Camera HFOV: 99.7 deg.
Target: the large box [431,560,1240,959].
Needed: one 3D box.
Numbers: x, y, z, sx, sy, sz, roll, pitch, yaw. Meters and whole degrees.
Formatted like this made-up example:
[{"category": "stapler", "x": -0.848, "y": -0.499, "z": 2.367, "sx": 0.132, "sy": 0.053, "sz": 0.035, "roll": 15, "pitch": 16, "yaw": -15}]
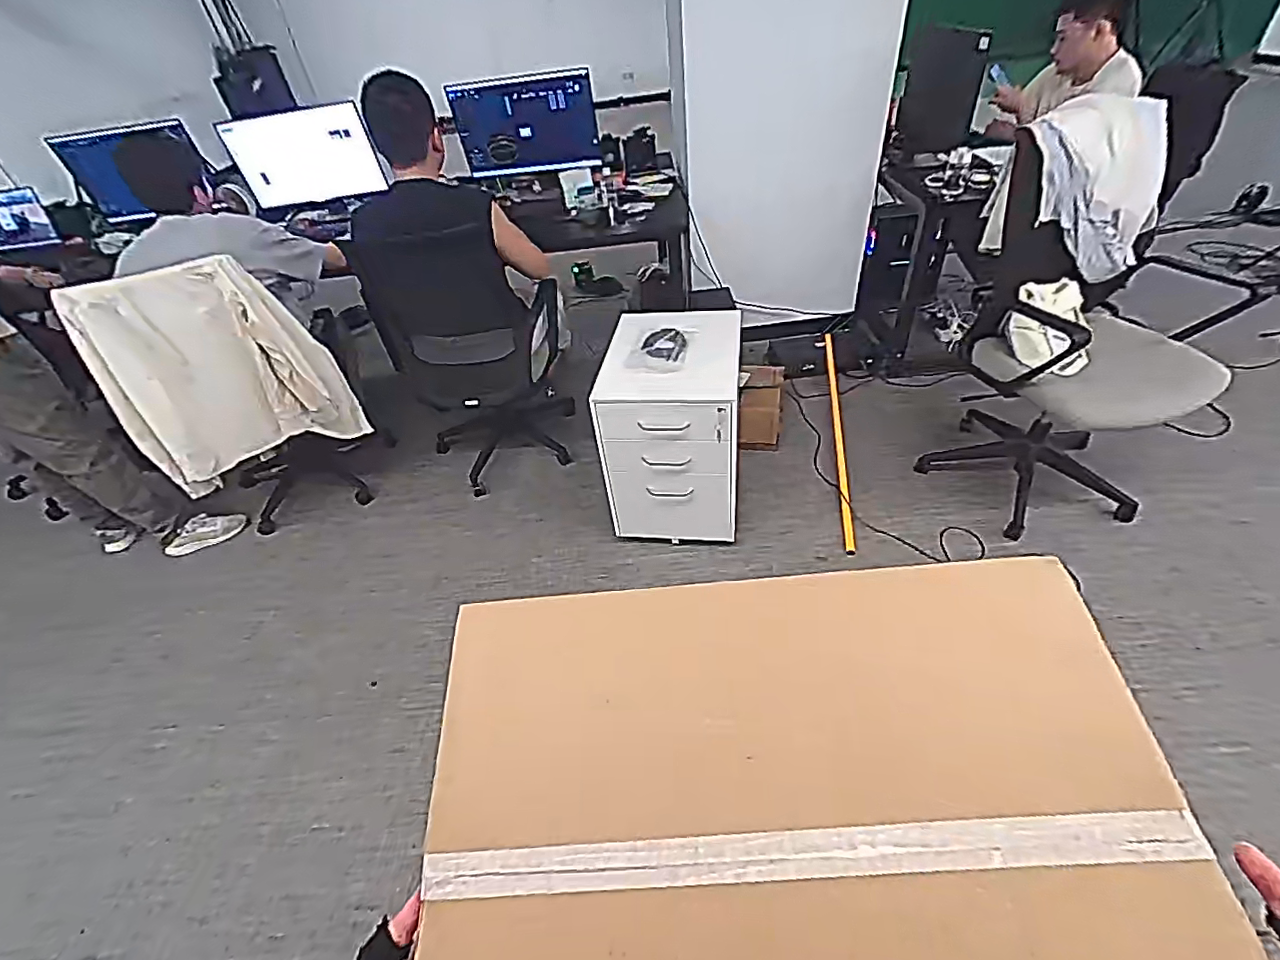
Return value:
[{"category": "large box", "x": 0.098, "y": 0.284, "z": 0.420, "sx": 0.408, "sy": 0.320, "sz": 0.320, "roll": -6, "pitch": 58, "yaw": 4}]
